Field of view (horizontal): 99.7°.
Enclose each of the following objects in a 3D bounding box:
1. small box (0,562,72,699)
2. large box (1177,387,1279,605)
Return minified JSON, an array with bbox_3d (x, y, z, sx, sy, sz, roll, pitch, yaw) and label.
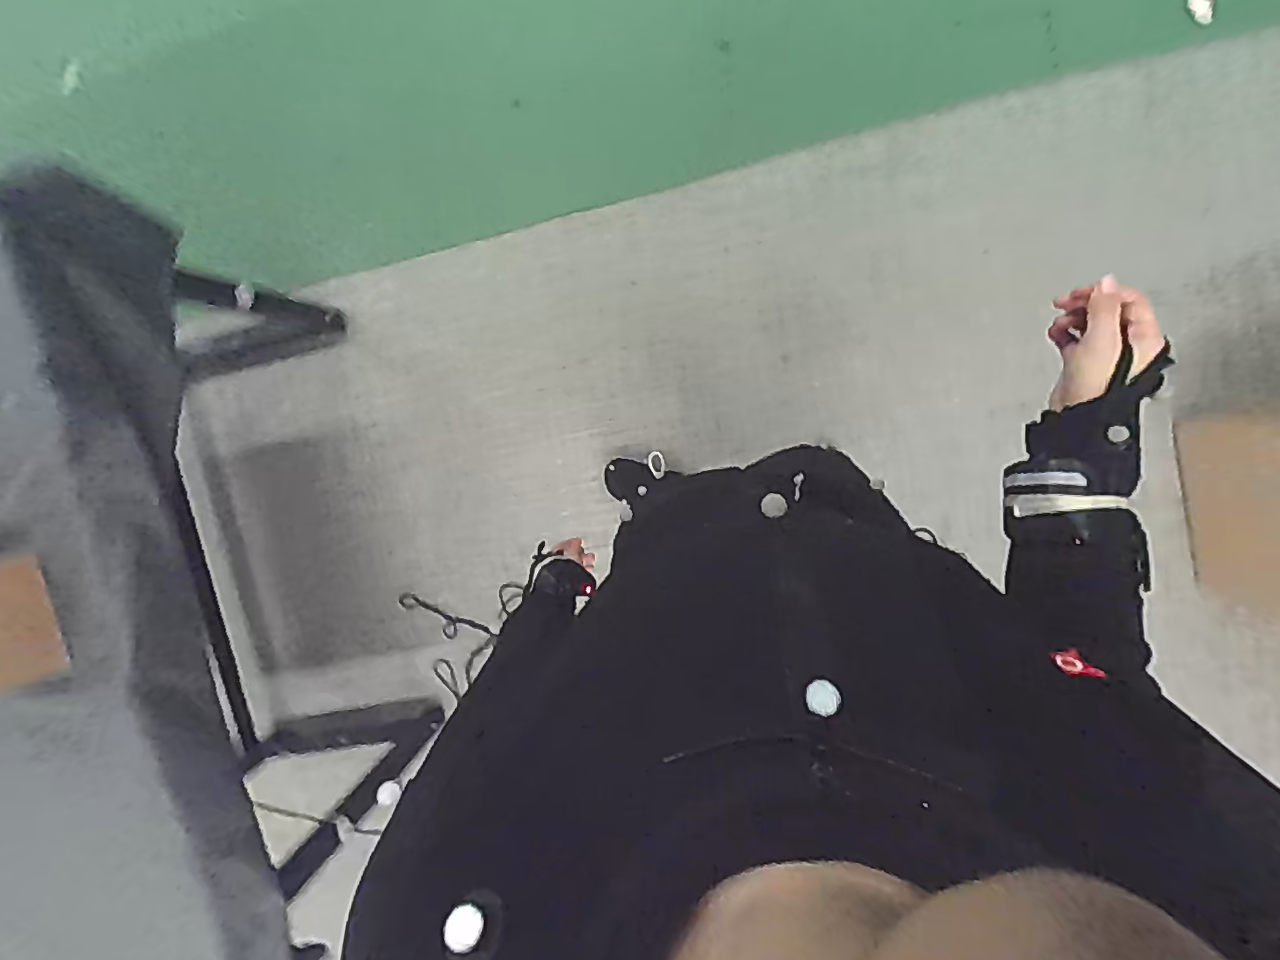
[{"bbox_3d":[-0.926,0.216,0.711,0.168,0.176,0.179,-12,96,11],"label":"small box"},{"bbox_3d":[1.365,0.022,1.048,0.320,0.320,0.408,-15,96,10],"label":"large box"}]
